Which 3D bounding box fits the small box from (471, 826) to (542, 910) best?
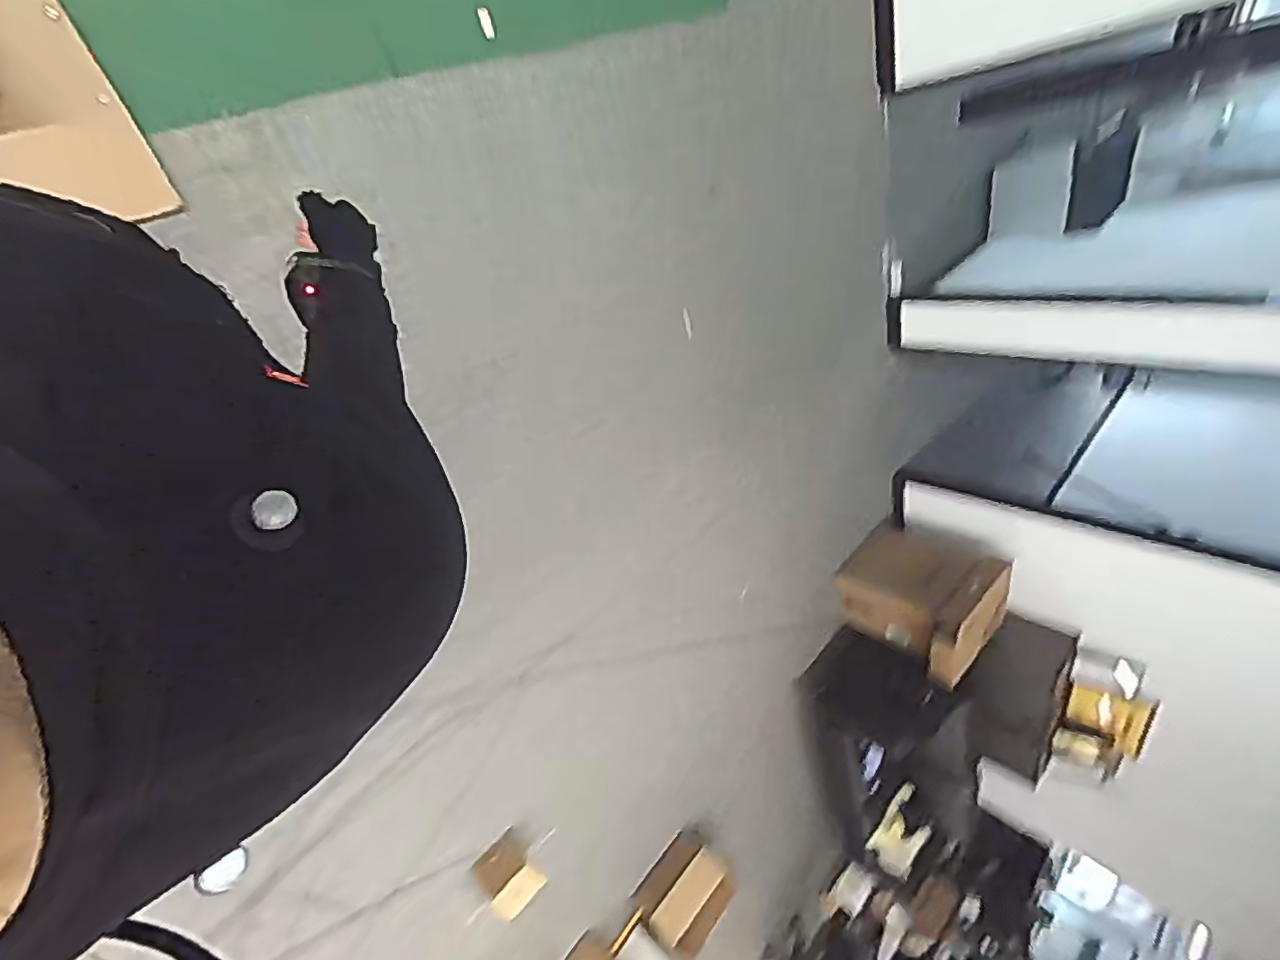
[{"bbox_3d":[-0.507,1.464,2.050,0.168,0.176,0.179,-39,127,-26],"label":"small box"}]
